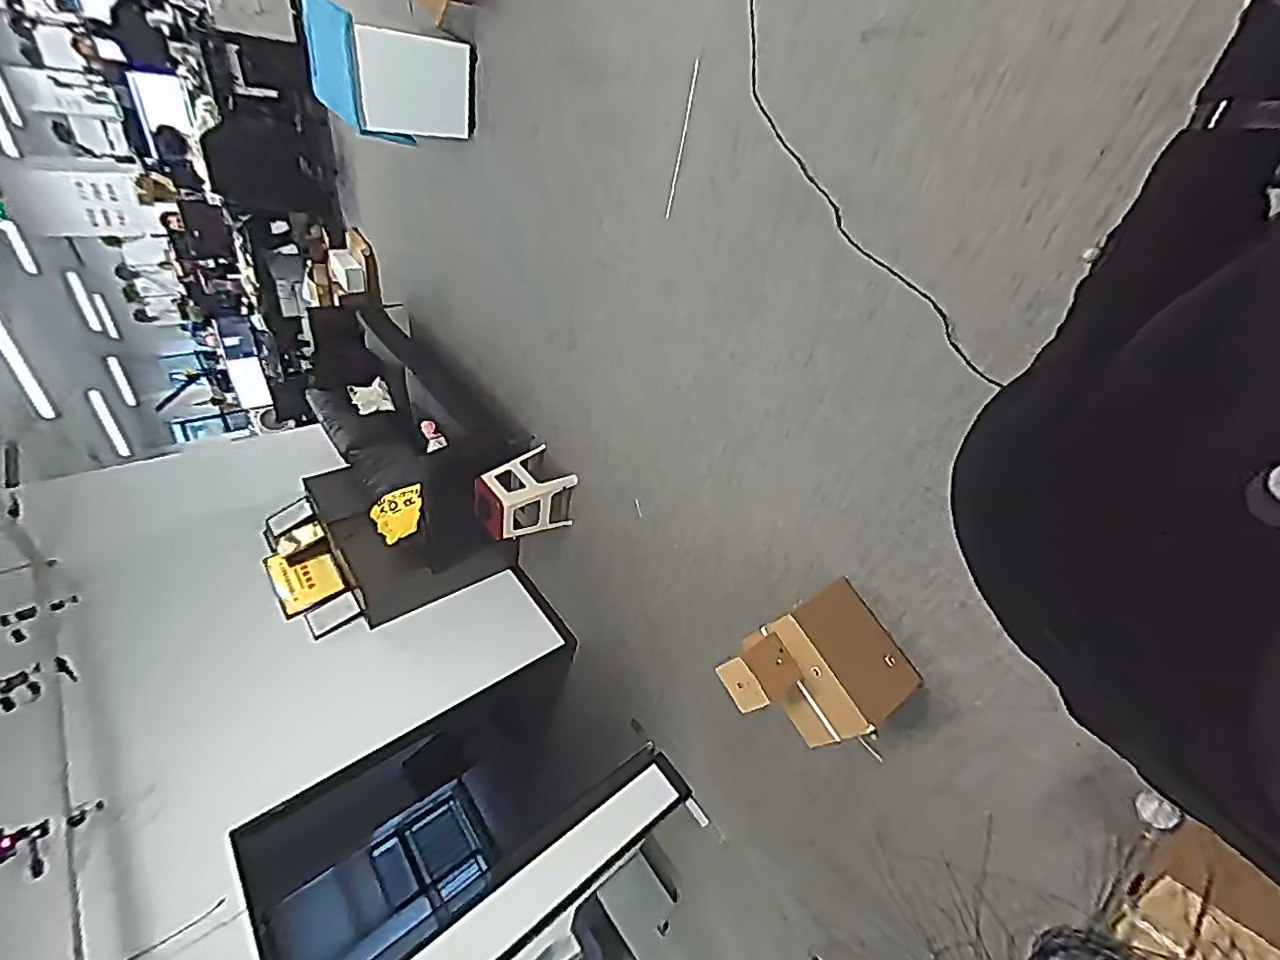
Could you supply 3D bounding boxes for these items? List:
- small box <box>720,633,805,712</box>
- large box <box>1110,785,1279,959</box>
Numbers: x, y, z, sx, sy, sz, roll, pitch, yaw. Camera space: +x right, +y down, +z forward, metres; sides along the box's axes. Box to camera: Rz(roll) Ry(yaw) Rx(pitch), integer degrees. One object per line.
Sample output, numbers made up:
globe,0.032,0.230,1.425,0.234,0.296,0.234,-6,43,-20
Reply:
small box,0.400,0.627,1.763,0.168,0.176,0.179,57,144,17
large box,1.323,0.961,1.133,0.408,0.320,0.320,30,130,40
